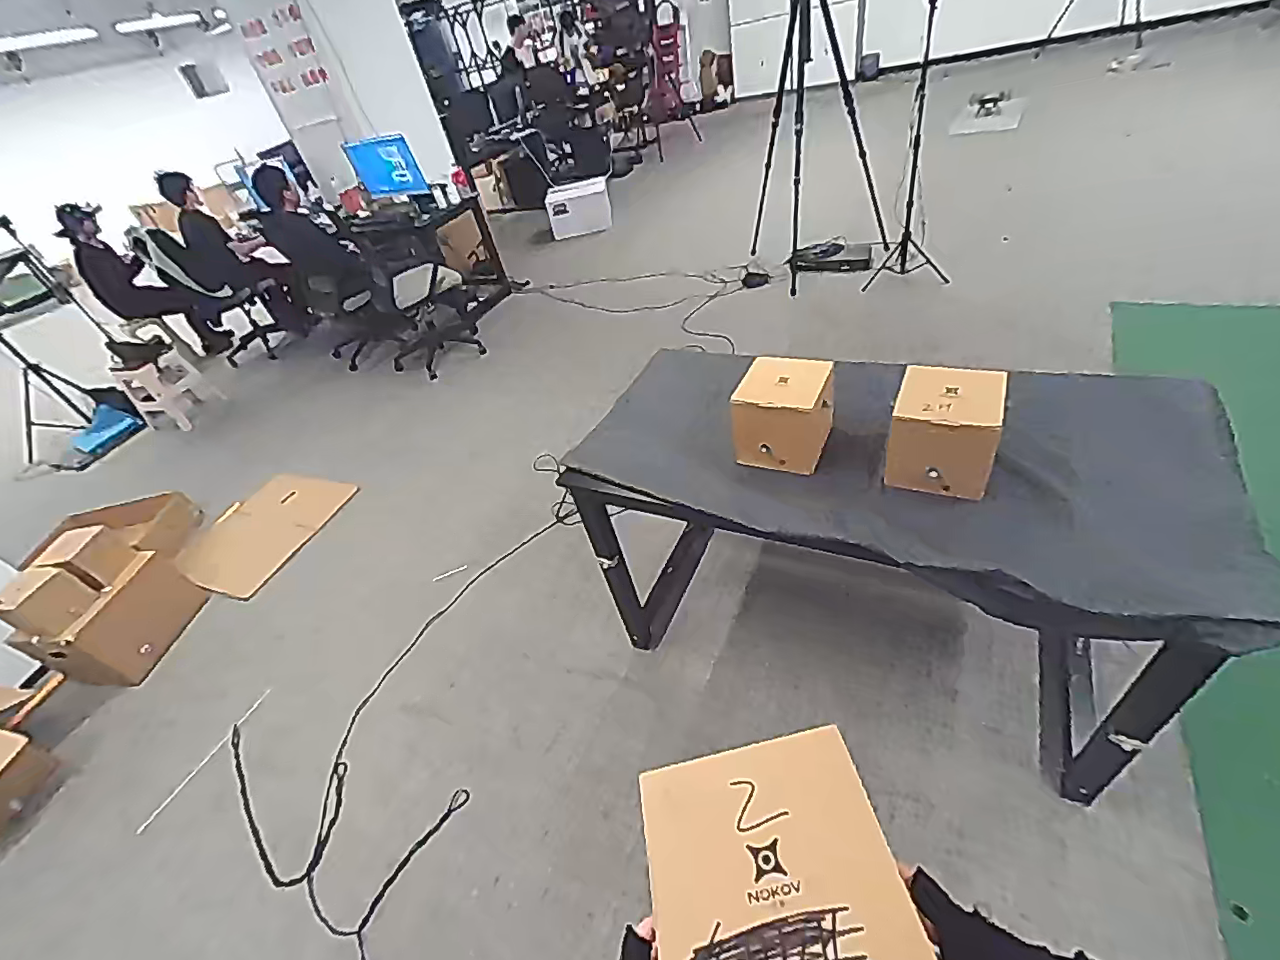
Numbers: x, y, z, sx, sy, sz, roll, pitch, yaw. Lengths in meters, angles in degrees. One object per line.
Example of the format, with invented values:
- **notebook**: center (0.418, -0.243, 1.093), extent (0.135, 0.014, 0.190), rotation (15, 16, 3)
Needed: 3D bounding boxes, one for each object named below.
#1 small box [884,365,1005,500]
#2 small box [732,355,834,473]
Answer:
- **small box**: center (0.565, -0.092, 1.014), extent (0.168, 0.176, 0.179), rotation (12, 47, 28)
- **small box**: center (0.304, -0.142, 1.149), extent (0.168, 0.176, 0.179), rotation (12, 48, 27)
